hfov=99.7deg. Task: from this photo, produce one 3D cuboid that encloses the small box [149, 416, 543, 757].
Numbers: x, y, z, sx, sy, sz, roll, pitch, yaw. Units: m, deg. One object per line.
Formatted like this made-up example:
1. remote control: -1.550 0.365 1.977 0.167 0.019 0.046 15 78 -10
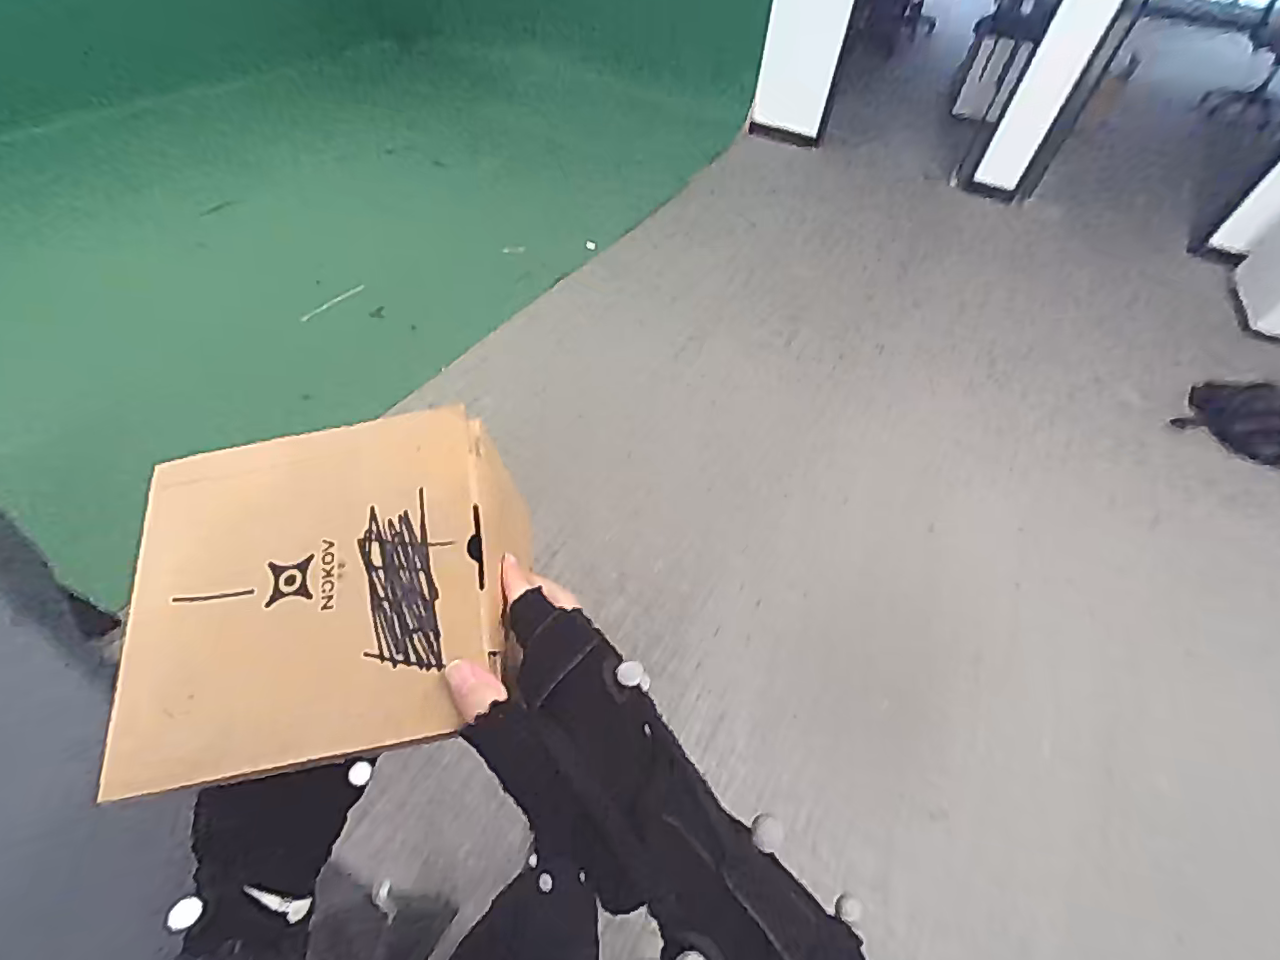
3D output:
1. small box: -0.166 0.077 0.370 0.179 0.176 0.168 -10 67 -5
